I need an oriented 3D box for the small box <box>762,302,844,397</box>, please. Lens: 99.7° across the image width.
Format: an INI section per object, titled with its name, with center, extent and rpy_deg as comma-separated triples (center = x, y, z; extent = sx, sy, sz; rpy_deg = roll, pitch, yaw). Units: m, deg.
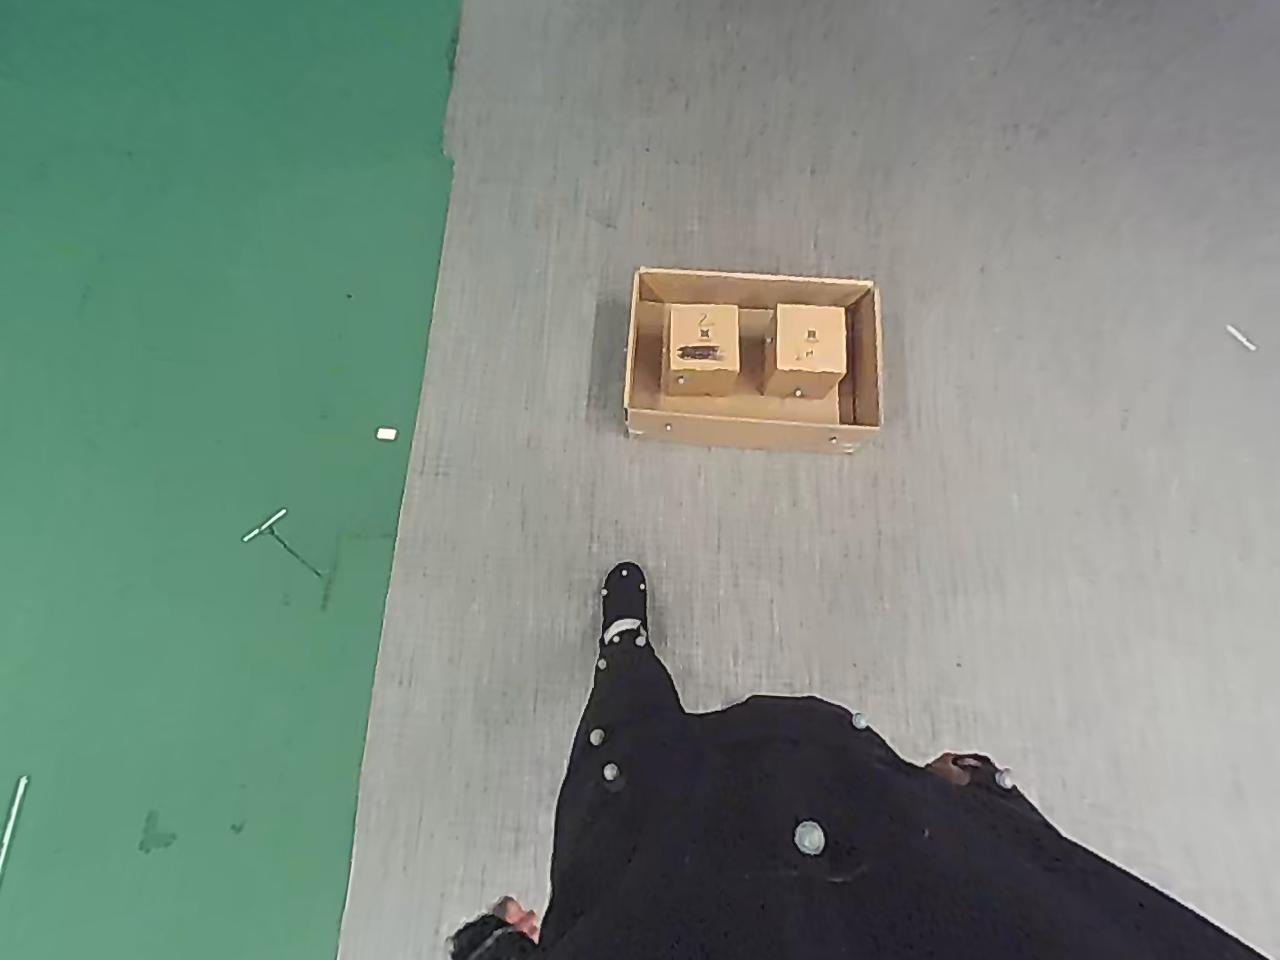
[small box]
center = 0.407, -0.327, 1.374
extent = 0.168, 0.176, 0.179
rpy_deg = 4, 77, 3
